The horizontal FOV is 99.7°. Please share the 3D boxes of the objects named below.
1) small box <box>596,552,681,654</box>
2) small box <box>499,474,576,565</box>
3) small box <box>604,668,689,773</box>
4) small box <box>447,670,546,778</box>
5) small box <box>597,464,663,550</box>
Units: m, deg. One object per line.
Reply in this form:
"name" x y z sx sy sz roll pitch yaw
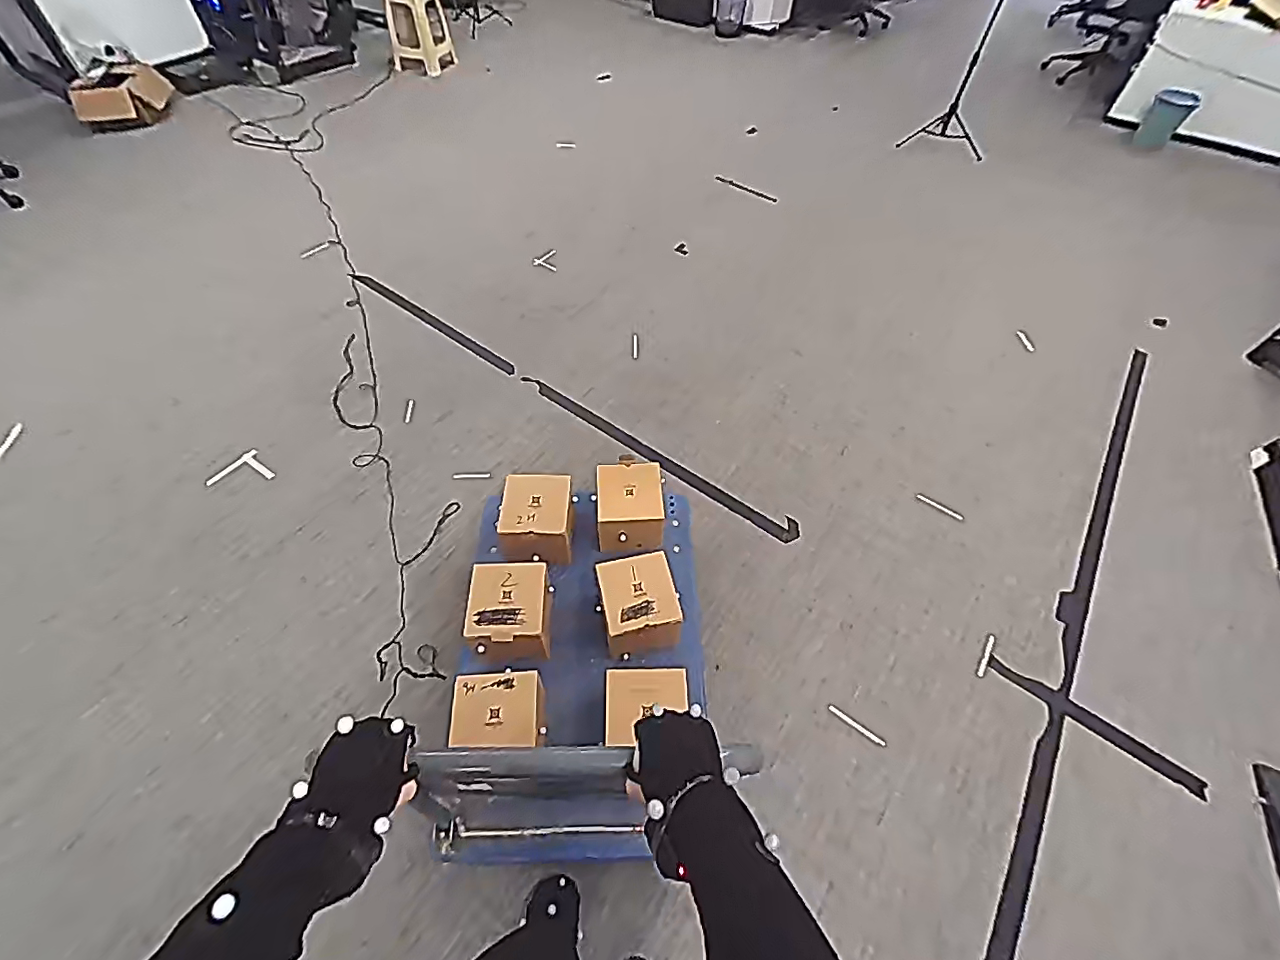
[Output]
"small box" -0.006 0.297 1.281 0.168 0.176 0.179 -9 54 -9
"small box" -0.258 0.104 1.409 0.168 0.176 0.179 2 55 -1
"small box" 0.012 0.507 1.132 0.168 0.176 0.179 1 54 -2
"small box" -0.285 0.508 1.117 0.168 0.176 0.179 -2 55 -5
"small box" -0.027 0.077 1.440 0.168 0.176 0.179 -2 54 -3
